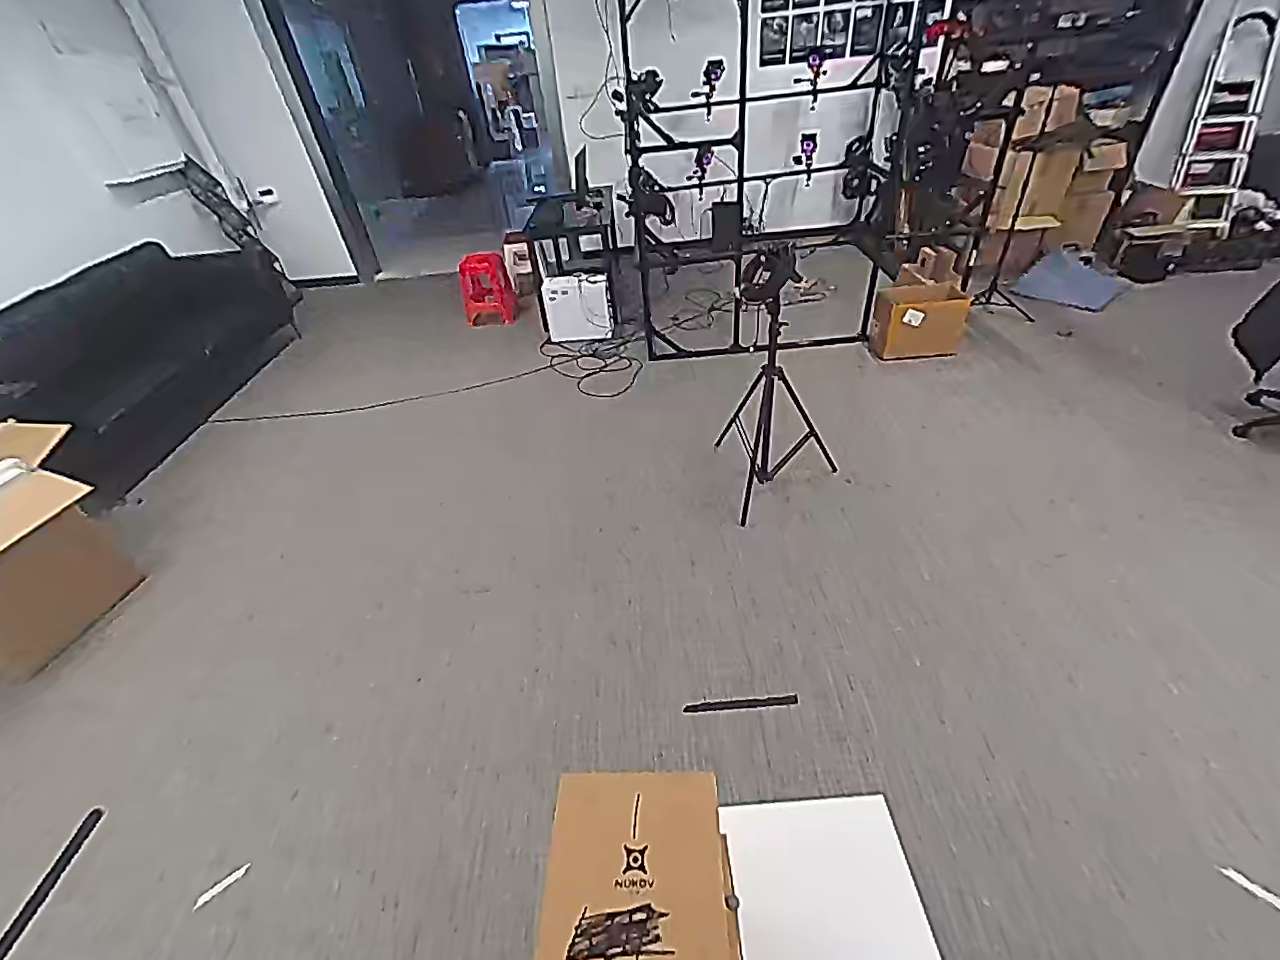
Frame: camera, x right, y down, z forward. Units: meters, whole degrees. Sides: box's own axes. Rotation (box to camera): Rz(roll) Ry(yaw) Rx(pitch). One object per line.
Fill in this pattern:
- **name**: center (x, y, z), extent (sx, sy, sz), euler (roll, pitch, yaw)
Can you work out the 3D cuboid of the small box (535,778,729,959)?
- **small box**: center (0.004, 0.426, 0.542), extent (0.168, 0.176, 0.179), euler (-3, 38, 5)
